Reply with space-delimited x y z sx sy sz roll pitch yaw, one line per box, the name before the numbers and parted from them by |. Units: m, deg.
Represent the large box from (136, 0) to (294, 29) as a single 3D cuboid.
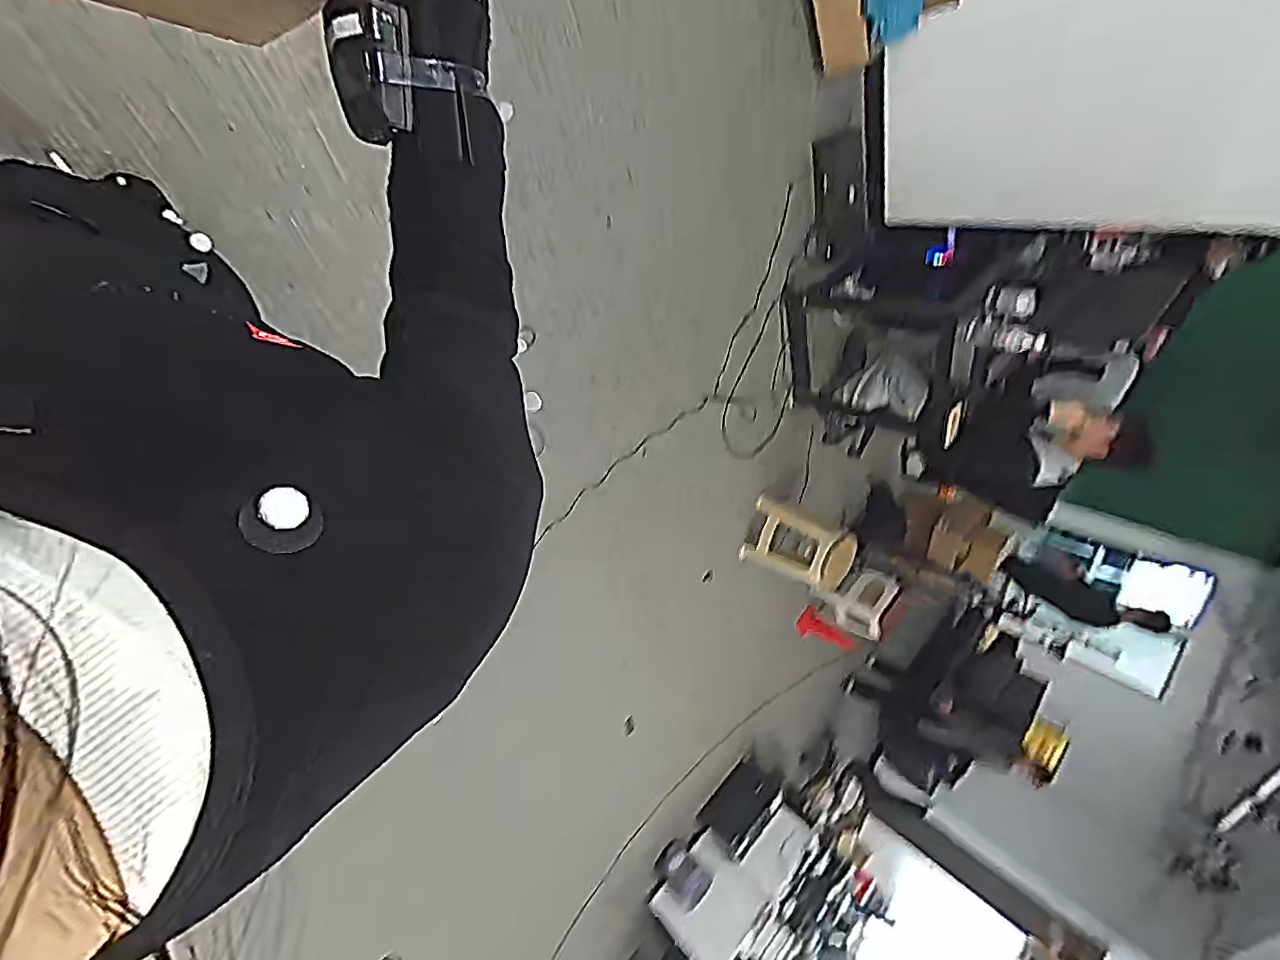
large box | -0.381 -0.437 0.203 0.408 0.320 0.320 -15 125 -39
